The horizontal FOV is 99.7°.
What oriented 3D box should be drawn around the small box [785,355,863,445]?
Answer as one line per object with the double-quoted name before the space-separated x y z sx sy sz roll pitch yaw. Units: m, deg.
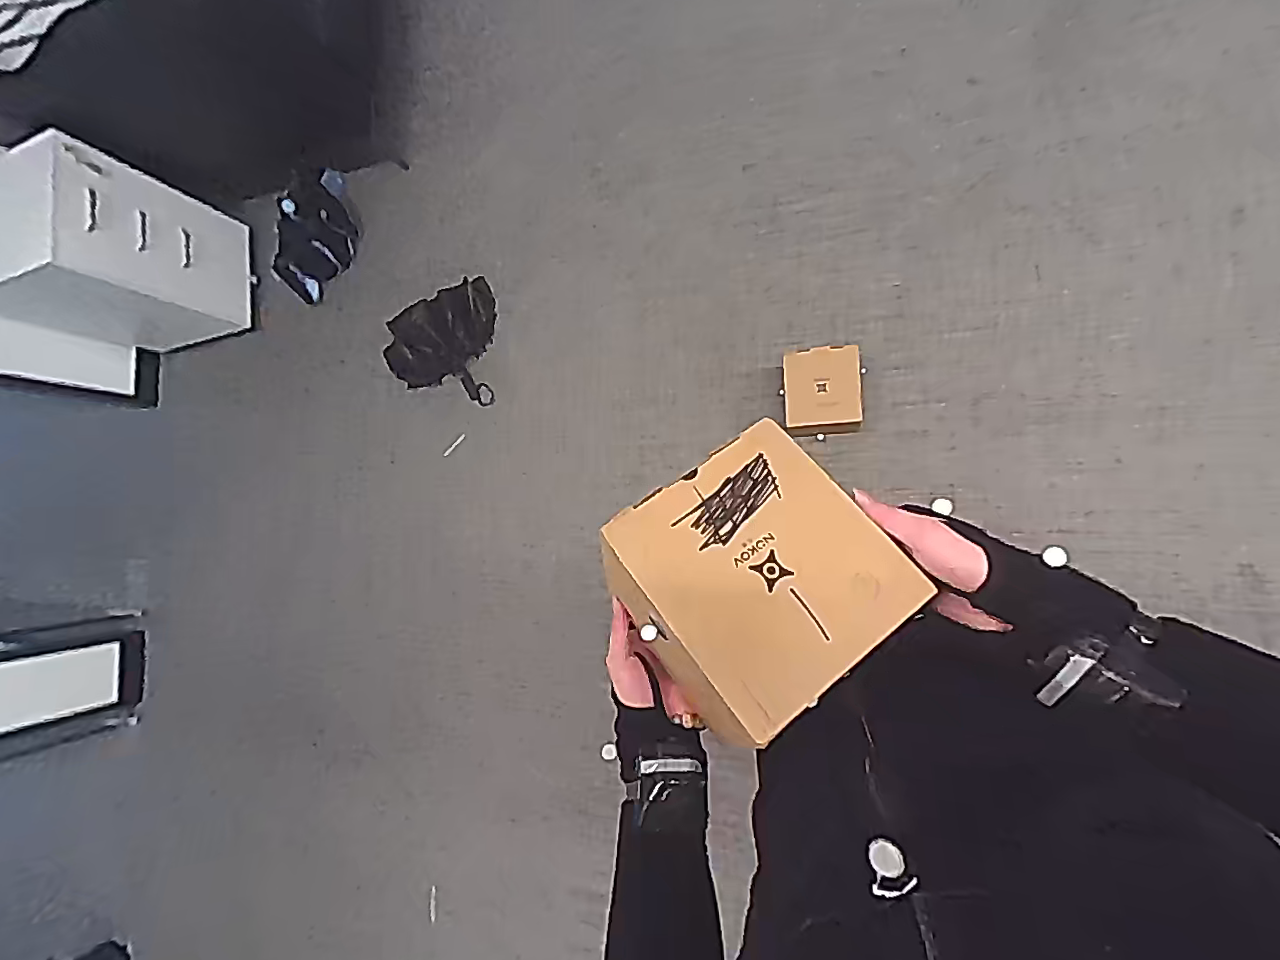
"small box" 0.440 -0.184 1.297 0.168 0.176 0.179 -3 86 20
